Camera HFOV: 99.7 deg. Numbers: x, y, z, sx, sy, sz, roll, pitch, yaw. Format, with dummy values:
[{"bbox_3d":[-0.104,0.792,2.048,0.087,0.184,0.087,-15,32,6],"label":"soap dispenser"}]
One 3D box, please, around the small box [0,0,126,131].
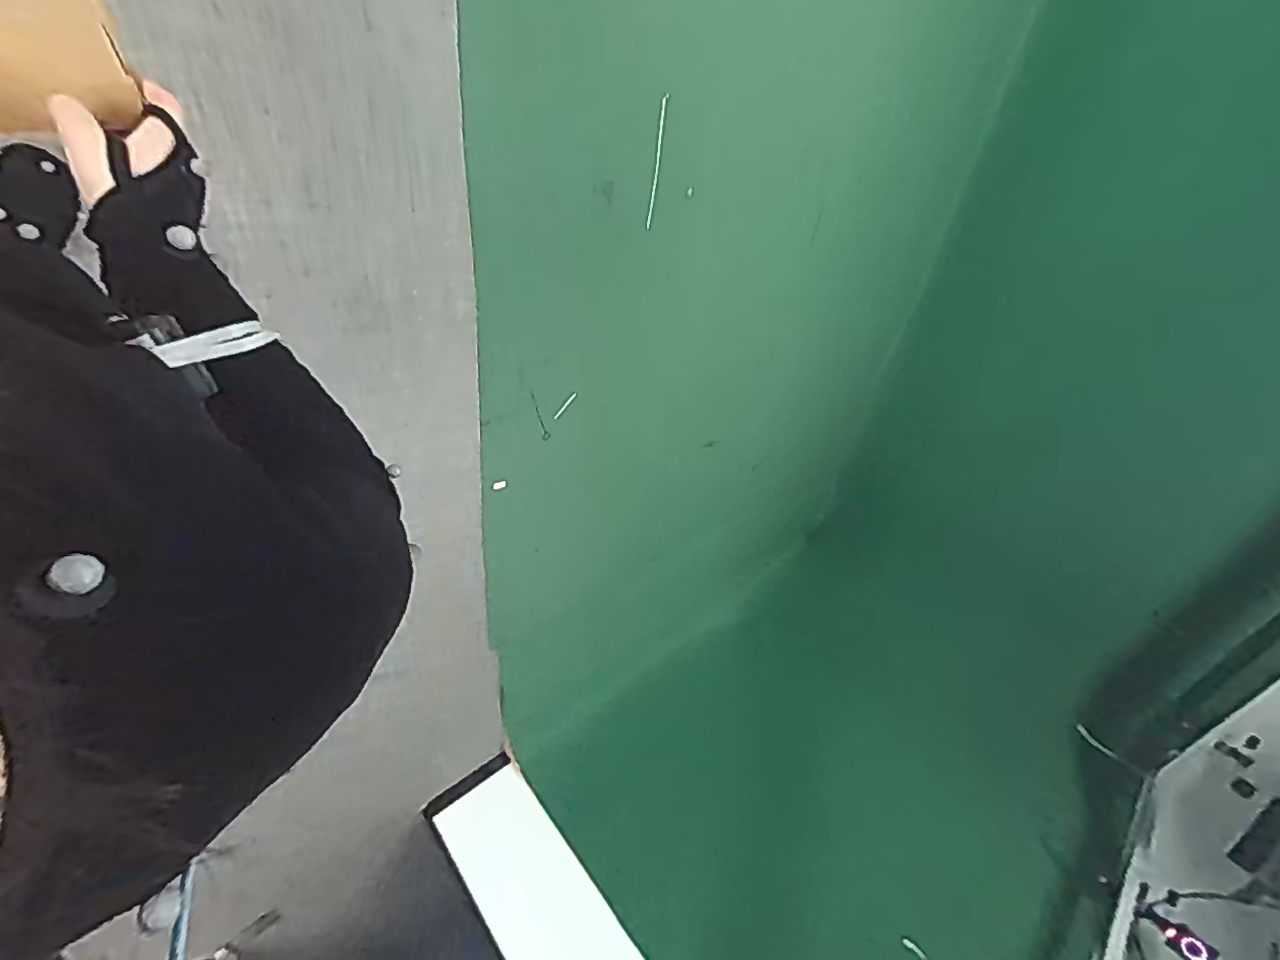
[{"bbox_3d":[-0.473,-0.333,0.323,0.179,0.176,0.168,-27,154,-27],"label":"small box"}]
